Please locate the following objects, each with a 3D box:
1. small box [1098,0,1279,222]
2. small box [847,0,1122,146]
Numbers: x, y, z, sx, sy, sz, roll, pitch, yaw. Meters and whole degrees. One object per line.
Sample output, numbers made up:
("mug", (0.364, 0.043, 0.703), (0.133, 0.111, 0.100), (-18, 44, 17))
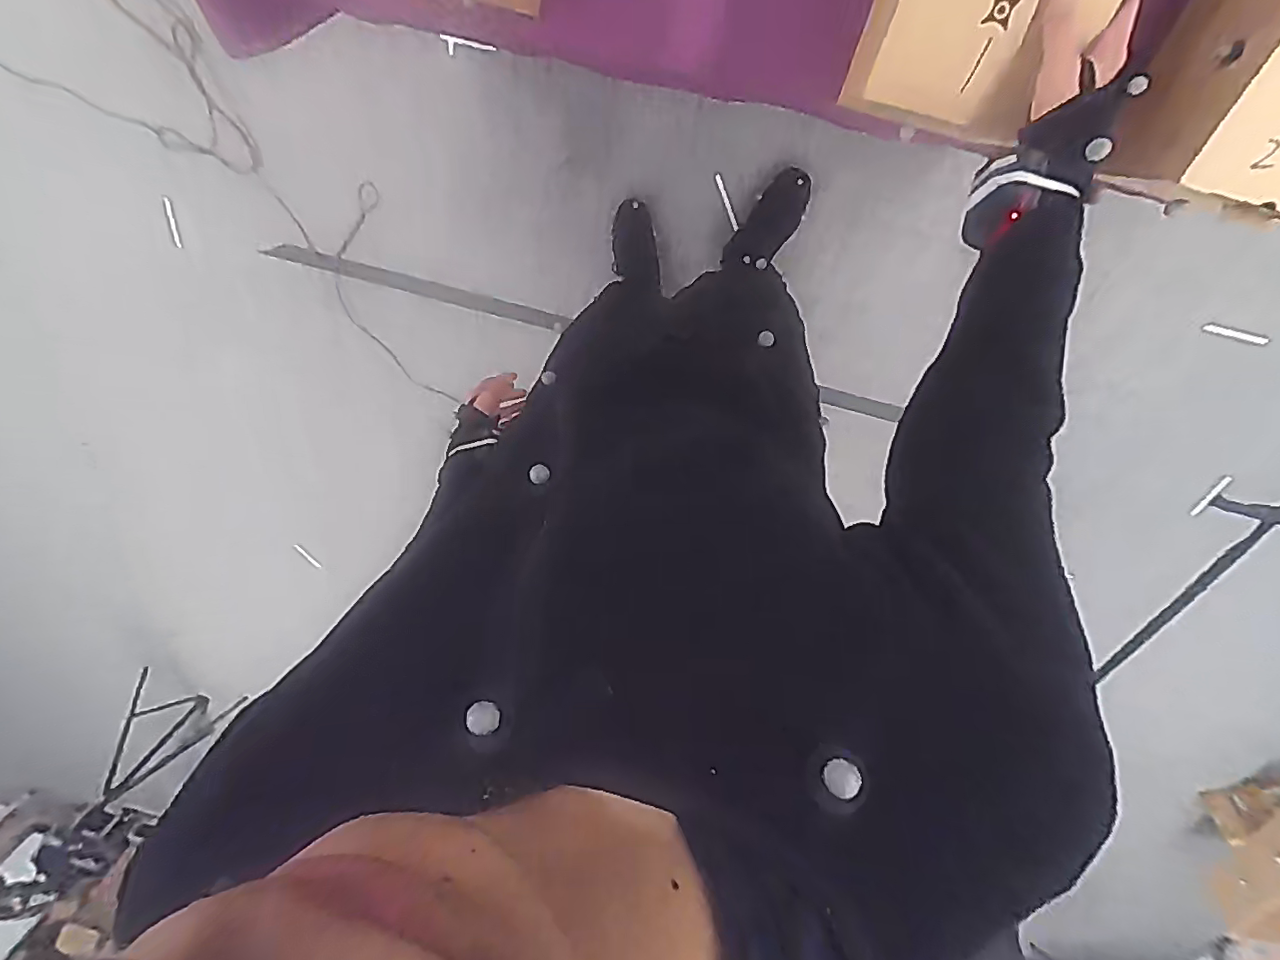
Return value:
("small box", (0.582, -0.349, 0.490), (0.168, 0.176, 0.179), (18, 124, 1))
("small box", (0.308, -0.431, 0.496), (0.168, 0.176, 0.179), (17, 125, 1))
